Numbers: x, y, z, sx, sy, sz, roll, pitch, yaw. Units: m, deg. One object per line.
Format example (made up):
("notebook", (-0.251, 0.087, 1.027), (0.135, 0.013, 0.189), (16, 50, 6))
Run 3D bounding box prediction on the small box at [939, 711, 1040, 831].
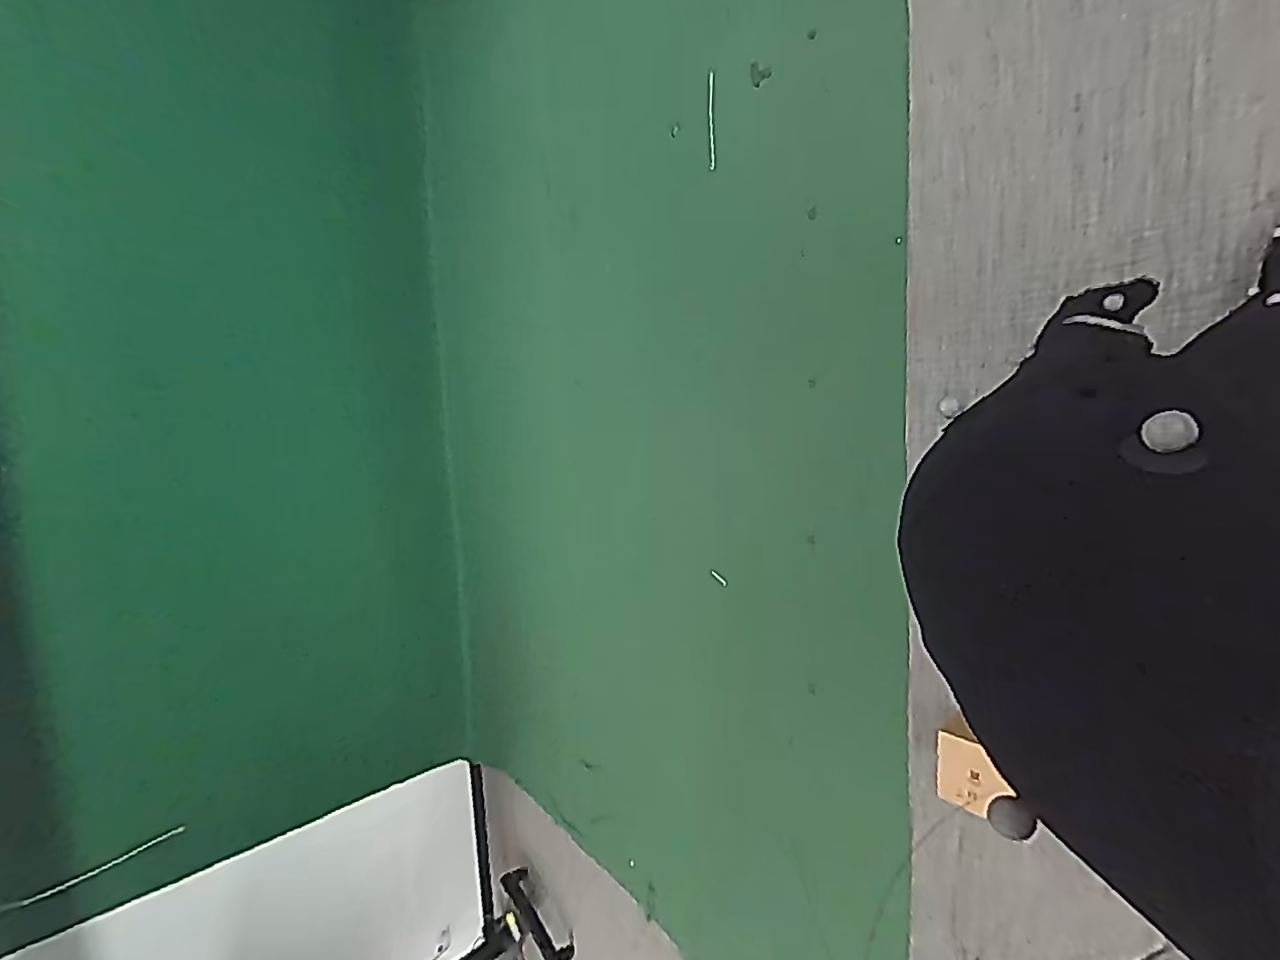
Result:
("small box", (0.849, 0.692, 1.313), (0.168, 0.176, 0.179), (4, 98, 50))
